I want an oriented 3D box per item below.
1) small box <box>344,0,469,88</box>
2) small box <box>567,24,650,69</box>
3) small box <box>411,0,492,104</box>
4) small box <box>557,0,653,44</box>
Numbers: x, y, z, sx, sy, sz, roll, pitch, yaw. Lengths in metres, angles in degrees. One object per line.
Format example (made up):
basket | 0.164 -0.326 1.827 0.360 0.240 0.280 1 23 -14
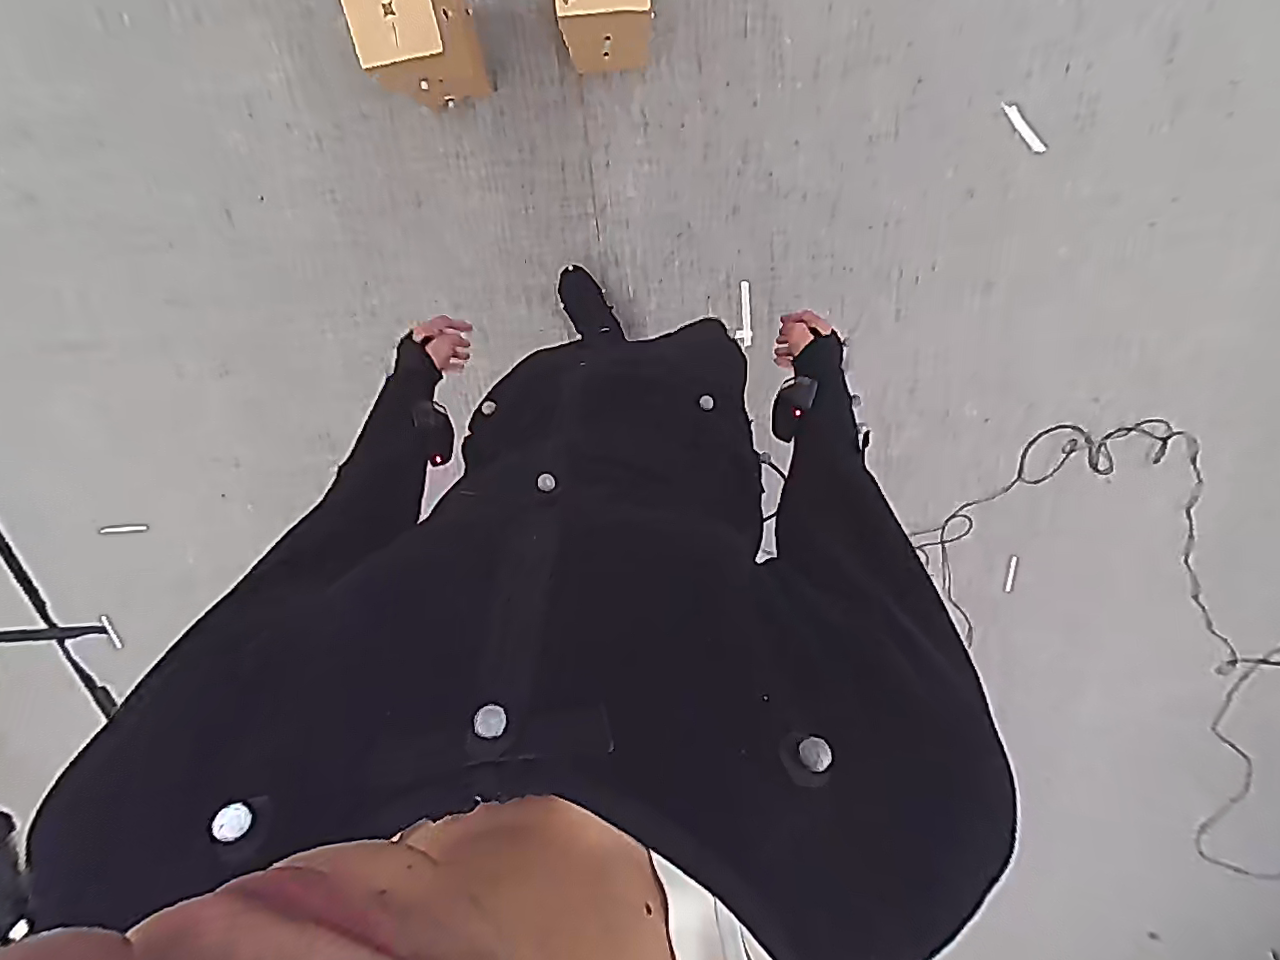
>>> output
small box | -0.454 -0.900 1.050 0.168 0.176 0.179 -8 114 4
small box | -0.070 -1.022 1.178 0.179 0.176 0.168 -4 113 1
small box | -0.447 -0.970 1.199 0.168 0.176 0.179 -10 113 4
small box | -0.069 -0.958 1.026 0.179 0.176 0.168 -3 113 0
